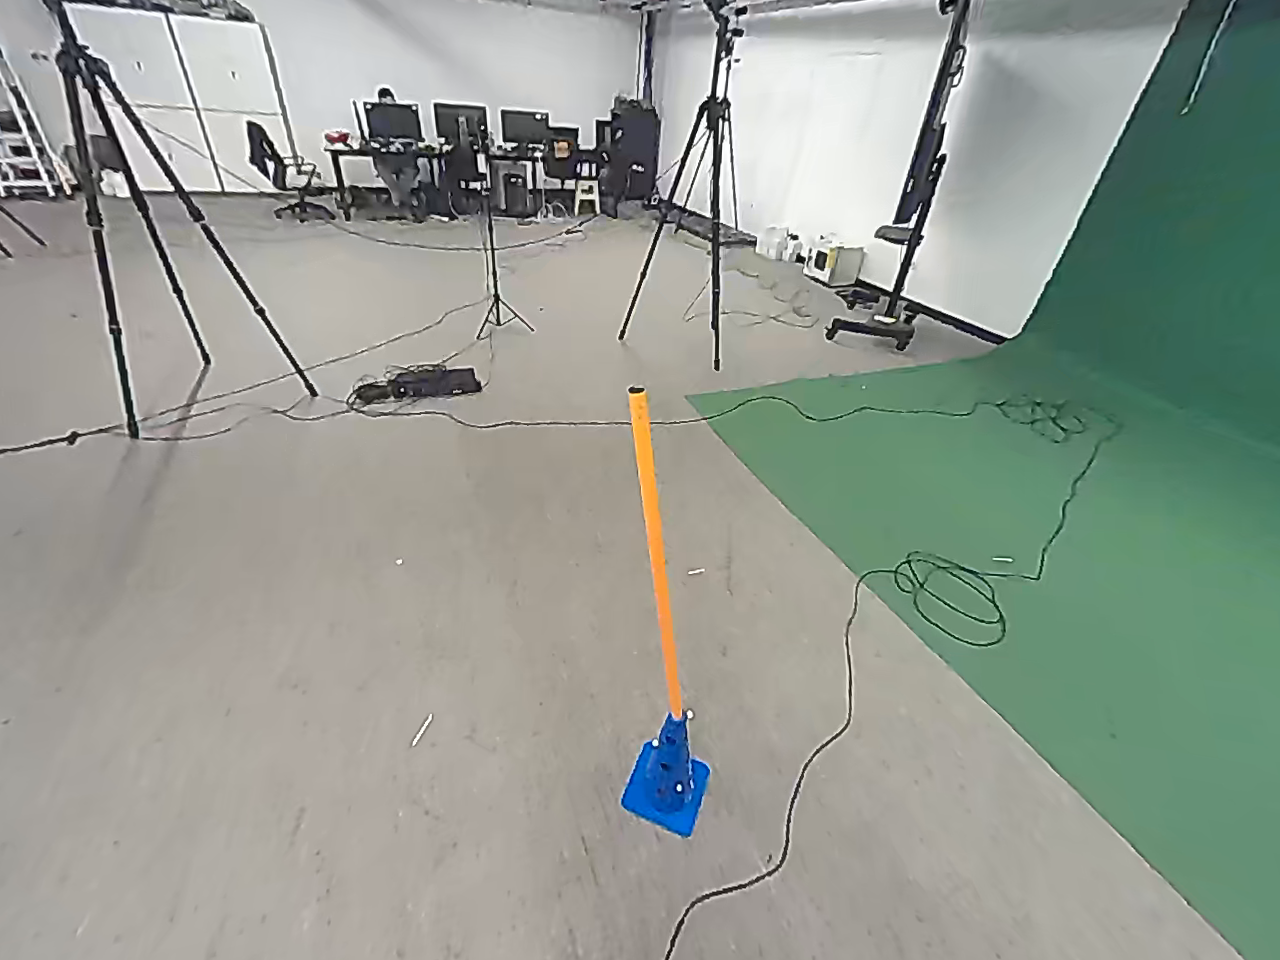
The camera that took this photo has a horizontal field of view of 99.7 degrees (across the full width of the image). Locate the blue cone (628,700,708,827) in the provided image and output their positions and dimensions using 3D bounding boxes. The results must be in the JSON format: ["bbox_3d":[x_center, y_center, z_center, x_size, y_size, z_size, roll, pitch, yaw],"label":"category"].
[{"bbox_3d":[0.082,0.683,1.354,0.193,0.380,0.192,14,38,16],"label":"blue cone"}]
